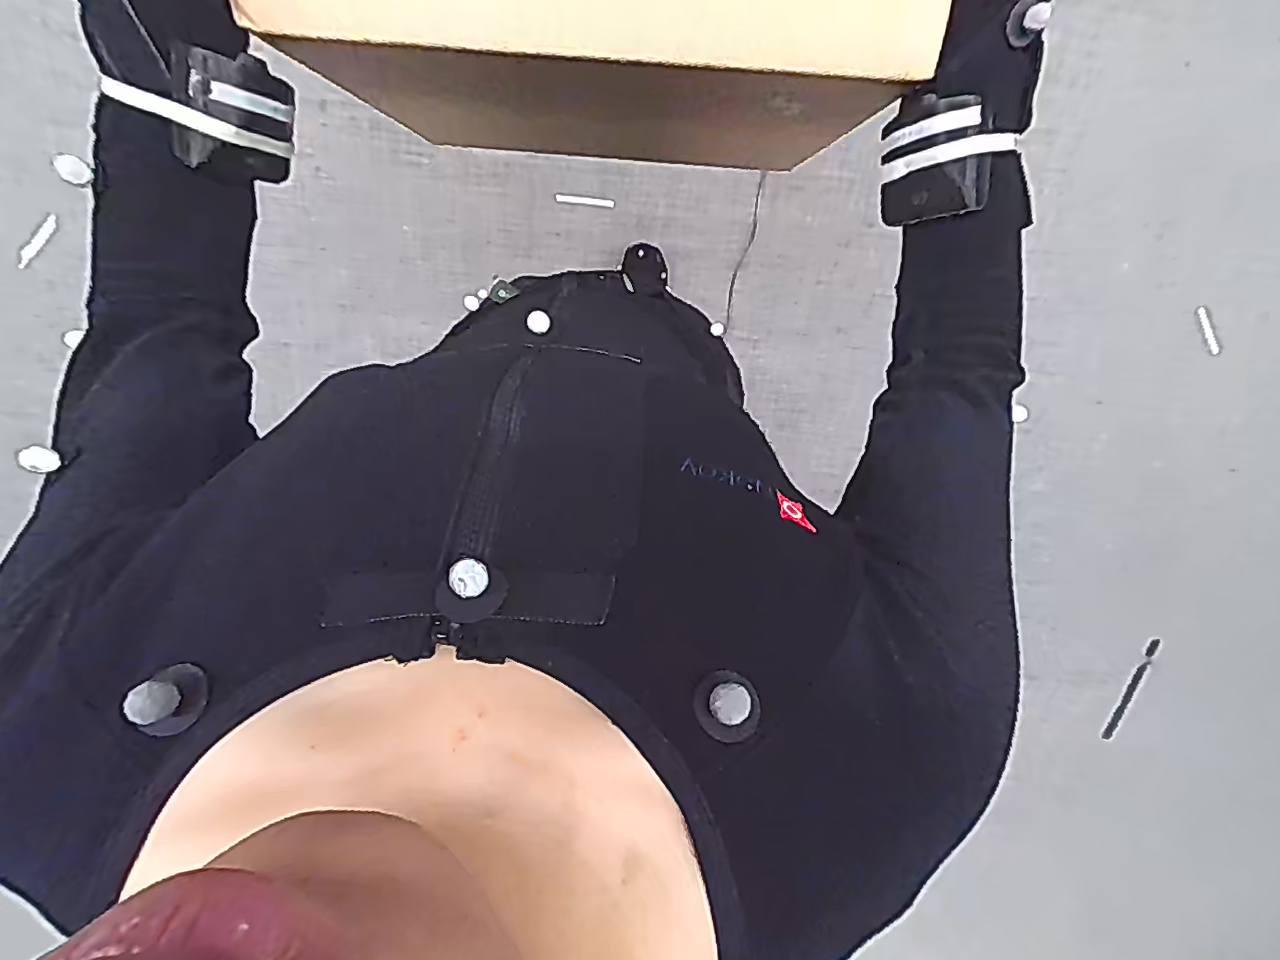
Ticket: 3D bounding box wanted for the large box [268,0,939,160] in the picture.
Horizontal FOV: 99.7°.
[{"bbox_3d":[-0.019,-0.456,0.413,0.408,0.320,0.320,3,111,-1],"label":"large box"}]
